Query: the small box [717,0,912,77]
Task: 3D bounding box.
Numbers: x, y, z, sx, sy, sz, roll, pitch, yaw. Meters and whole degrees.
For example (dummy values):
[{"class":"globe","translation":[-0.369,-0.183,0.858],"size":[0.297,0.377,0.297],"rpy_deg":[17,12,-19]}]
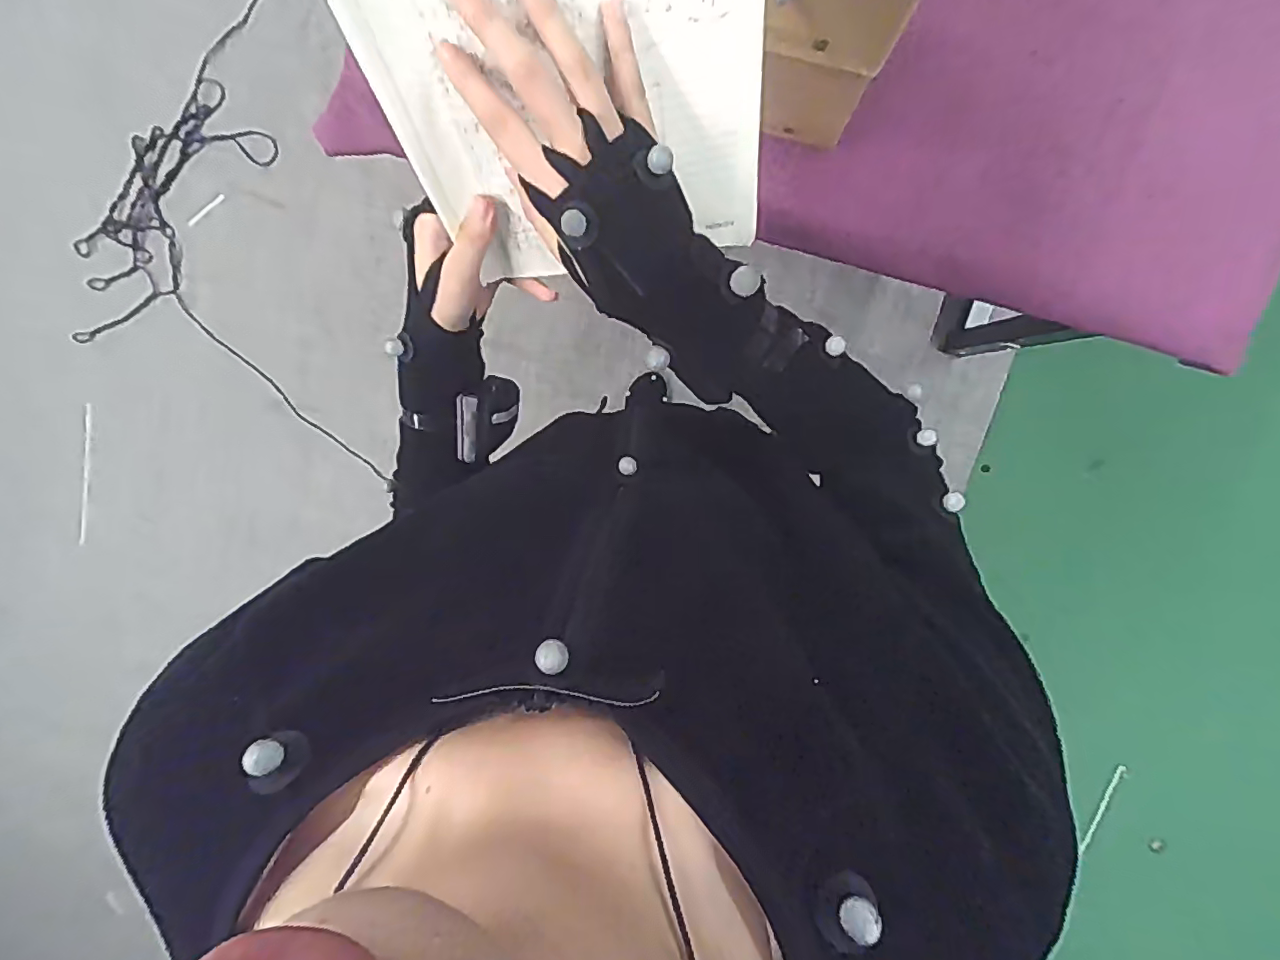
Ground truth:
[{"class":"small box","translation":[0.164,-0.479,0.439],"size":[0.168,0.176,0.179],"rpy_deg":[17,98,3]}]
